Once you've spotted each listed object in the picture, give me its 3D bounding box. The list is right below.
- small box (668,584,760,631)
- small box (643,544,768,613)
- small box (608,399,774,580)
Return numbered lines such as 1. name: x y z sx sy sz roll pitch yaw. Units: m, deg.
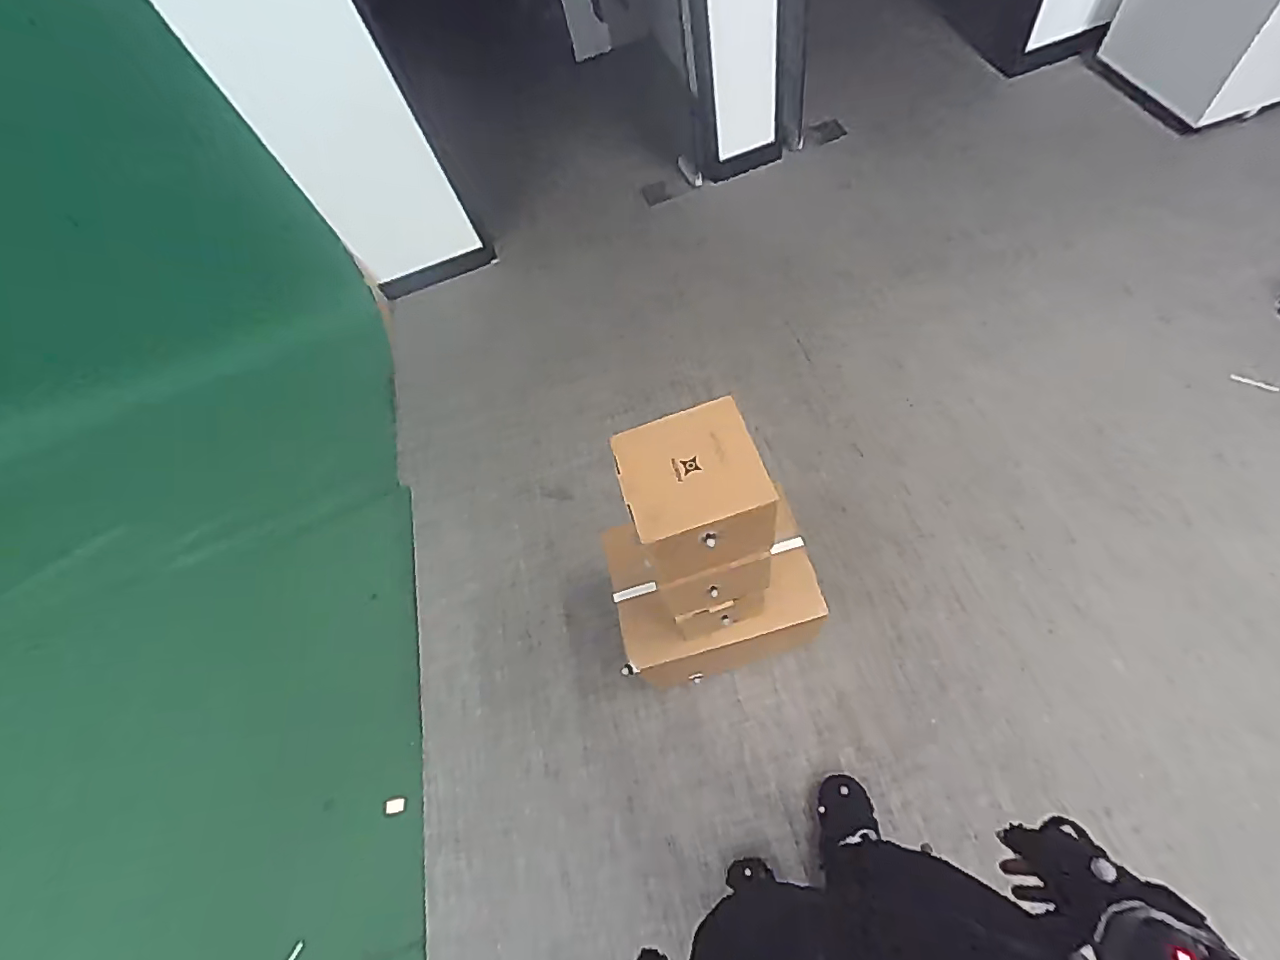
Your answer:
1. small box: 0.123 0.178 1.034 0.168 0.176 0.179 -20 62 1
2. small box: 0.099 0.102 0.889 0.179 0.176 0.168 -18 61 4
3. small box: 0.073 0.022 0.751 0.179 0.176 0.168 -19 62 1
